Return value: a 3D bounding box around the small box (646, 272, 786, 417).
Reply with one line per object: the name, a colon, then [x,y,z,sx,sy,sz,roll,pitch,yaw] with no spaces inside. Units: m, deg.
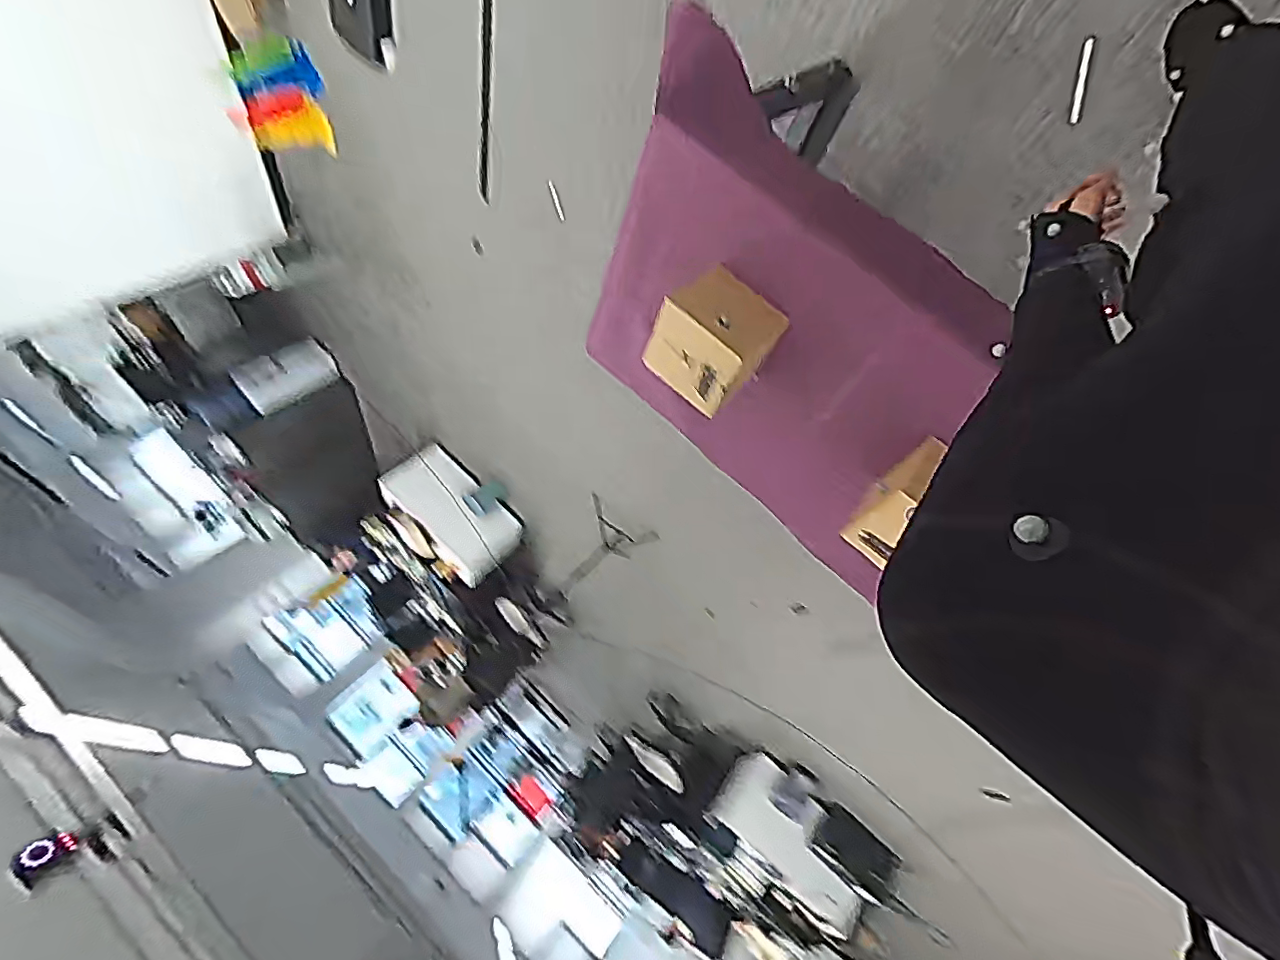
small box: [0.144,-0.261,1.027,0.179,0.176,0.168,42,148,9]
